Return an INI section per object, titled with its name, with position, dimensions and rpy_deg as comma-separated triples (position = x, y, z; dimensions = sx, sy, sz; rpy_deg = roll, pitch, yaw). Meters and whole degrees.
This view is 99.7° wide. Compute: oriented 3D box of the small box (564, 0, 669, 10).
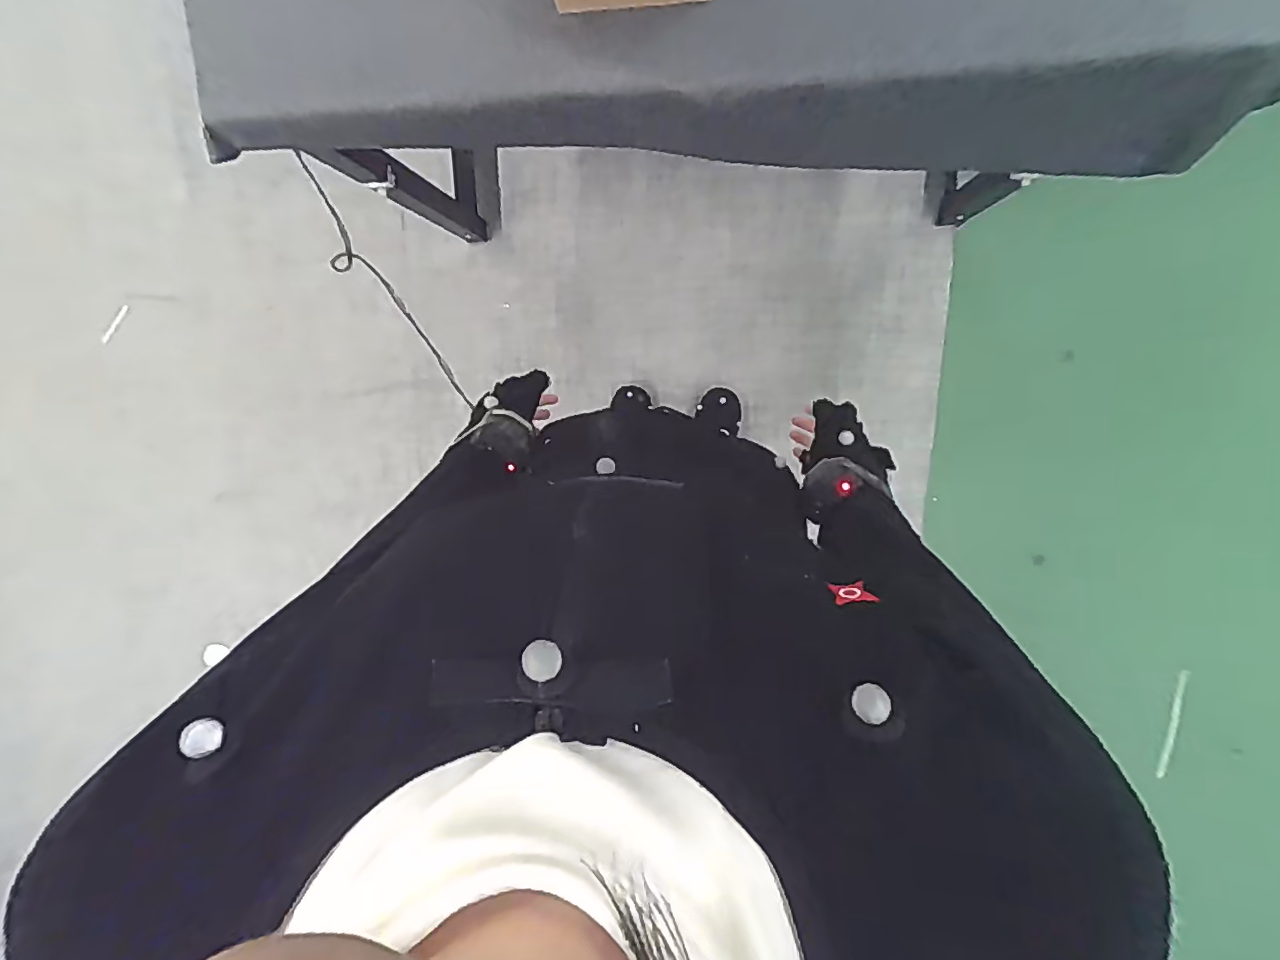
[small box]
position = -0.011, -0.588, 0.501
dimensions = 0.179, 0.176, 0.168
rpy_deg = 1, 100, 9
